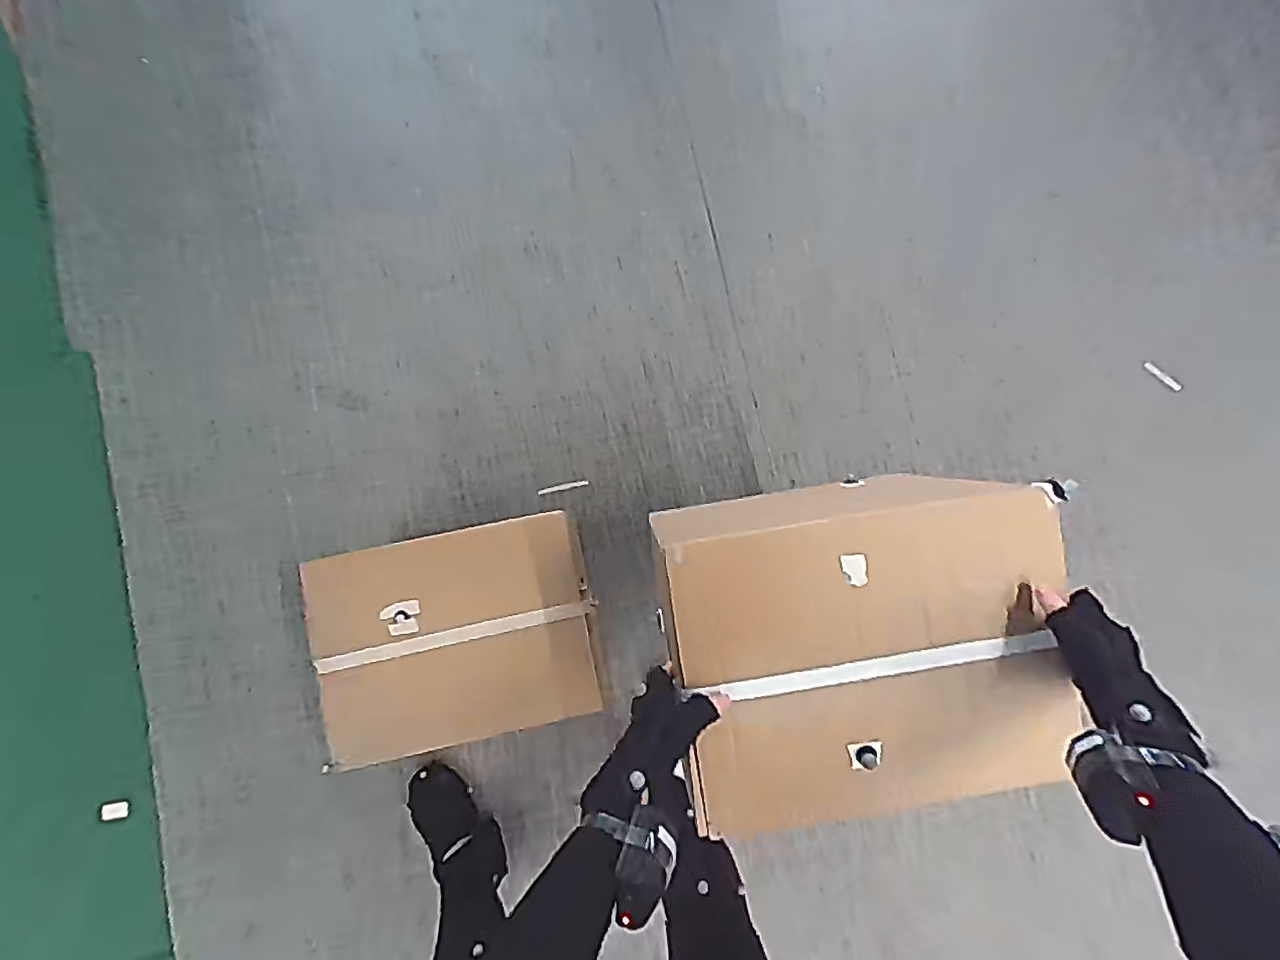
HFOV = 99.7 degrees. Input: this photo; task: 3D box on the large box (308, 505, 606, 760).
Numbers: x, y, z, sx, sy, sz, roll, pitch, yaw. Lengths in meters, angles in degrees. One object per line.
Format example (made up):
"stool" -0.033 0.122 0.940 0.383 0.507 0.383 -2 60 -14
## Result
"large box" -0.287 0.238 0.968 0.408 0.320 0.320 -11 85 -3
